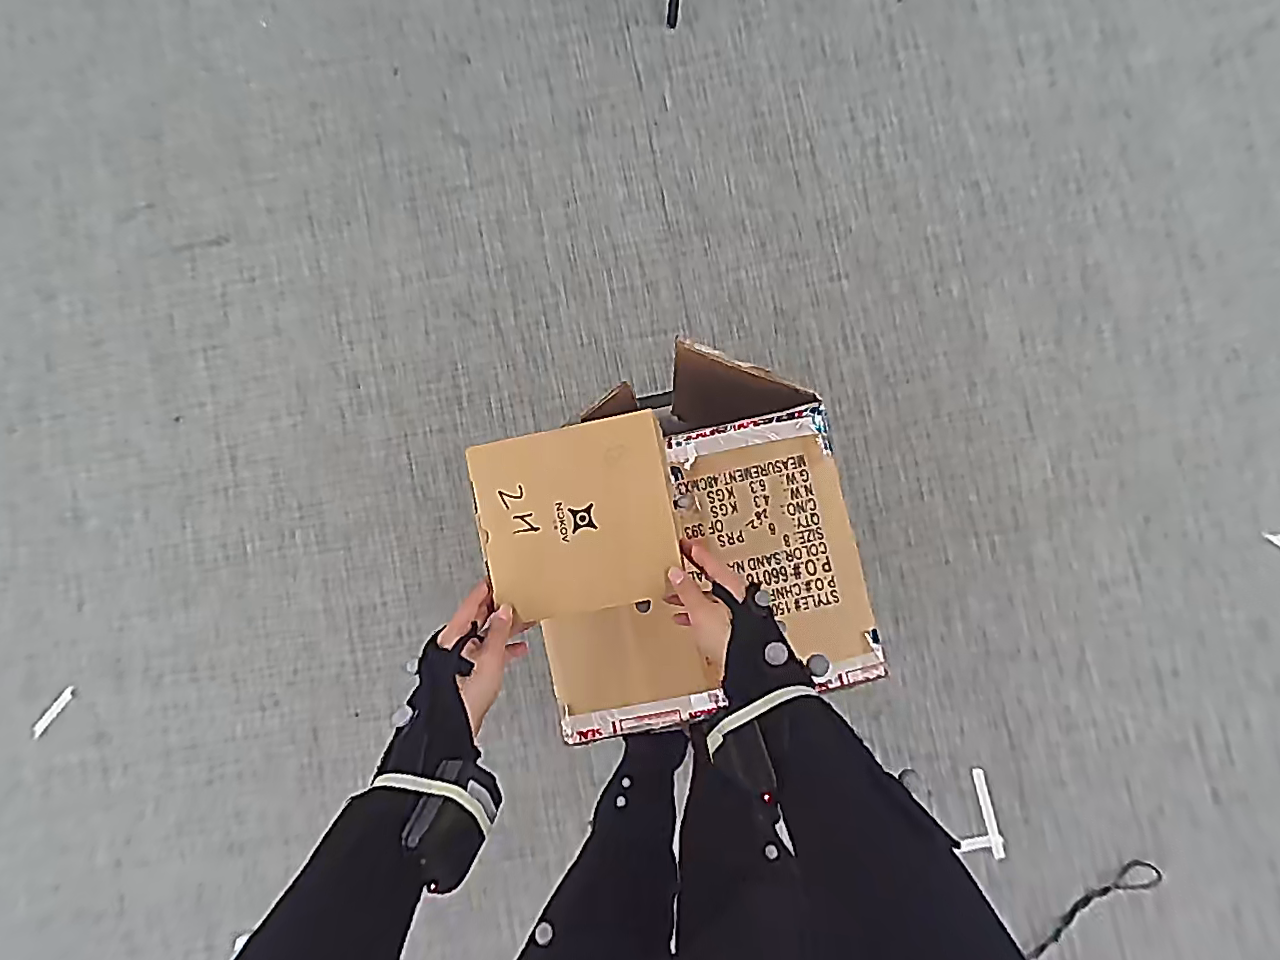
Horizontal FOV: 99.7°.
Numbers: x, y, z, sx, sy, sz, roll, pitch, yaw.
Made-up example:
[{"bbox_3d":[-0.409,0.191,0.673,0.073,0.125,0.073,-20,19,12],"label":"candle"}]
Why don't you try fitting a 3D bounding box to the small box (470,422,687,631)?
[{"bbox_3d":[-0.051,0.043,0.566,0.179,0.176,0.168,-11,87,5],"label":"small box"}]
